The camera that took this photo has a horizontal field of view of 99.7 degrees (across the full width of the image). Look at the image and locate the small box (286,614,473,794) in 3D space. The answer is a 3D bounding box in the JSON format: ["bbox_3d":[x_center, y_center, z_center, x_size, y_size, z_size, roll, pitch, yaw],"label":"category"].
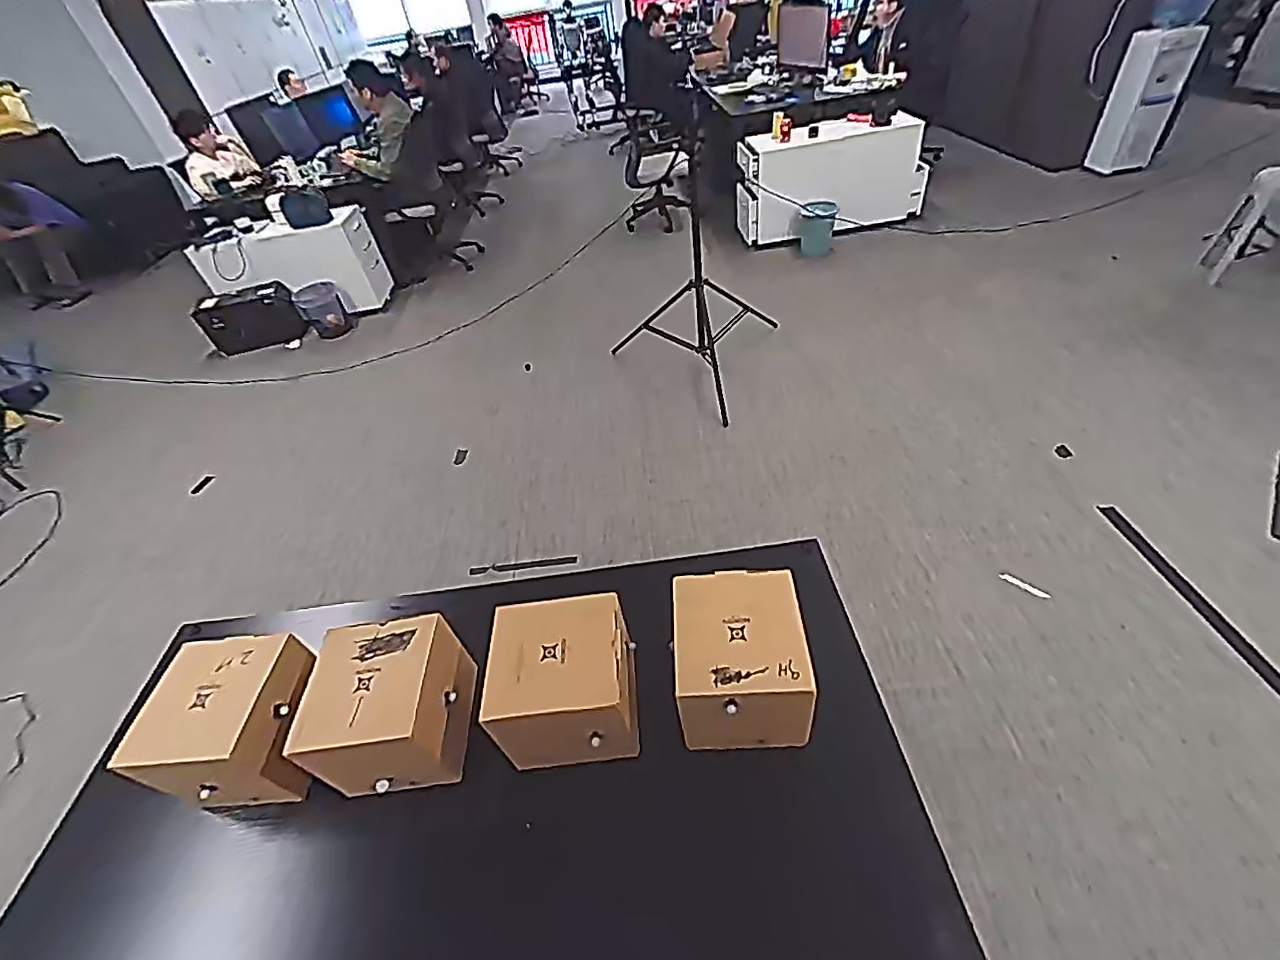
[{"bbox_3d":[-0.350,0.319,0.771,0.168,0.176,0.179,-9,45,1],"label":"small box"}]

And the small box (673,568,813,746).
[{"bbox_3d":[0.134,0.246,0.751,0.168,0.176,0.179,-5,43,7],"label":"small box"}]

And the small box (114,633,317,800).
[{"bbox_3d":[-0.572,0.348,0.786,0.168,0.176,0.179,-6,43,4],"label":"small box"}]

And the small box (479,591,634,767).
[{"bbox_3d":[-0.104,0.283,0.764,0.179,0.176,0.168,-9,42,3],"label":"small box"}]
